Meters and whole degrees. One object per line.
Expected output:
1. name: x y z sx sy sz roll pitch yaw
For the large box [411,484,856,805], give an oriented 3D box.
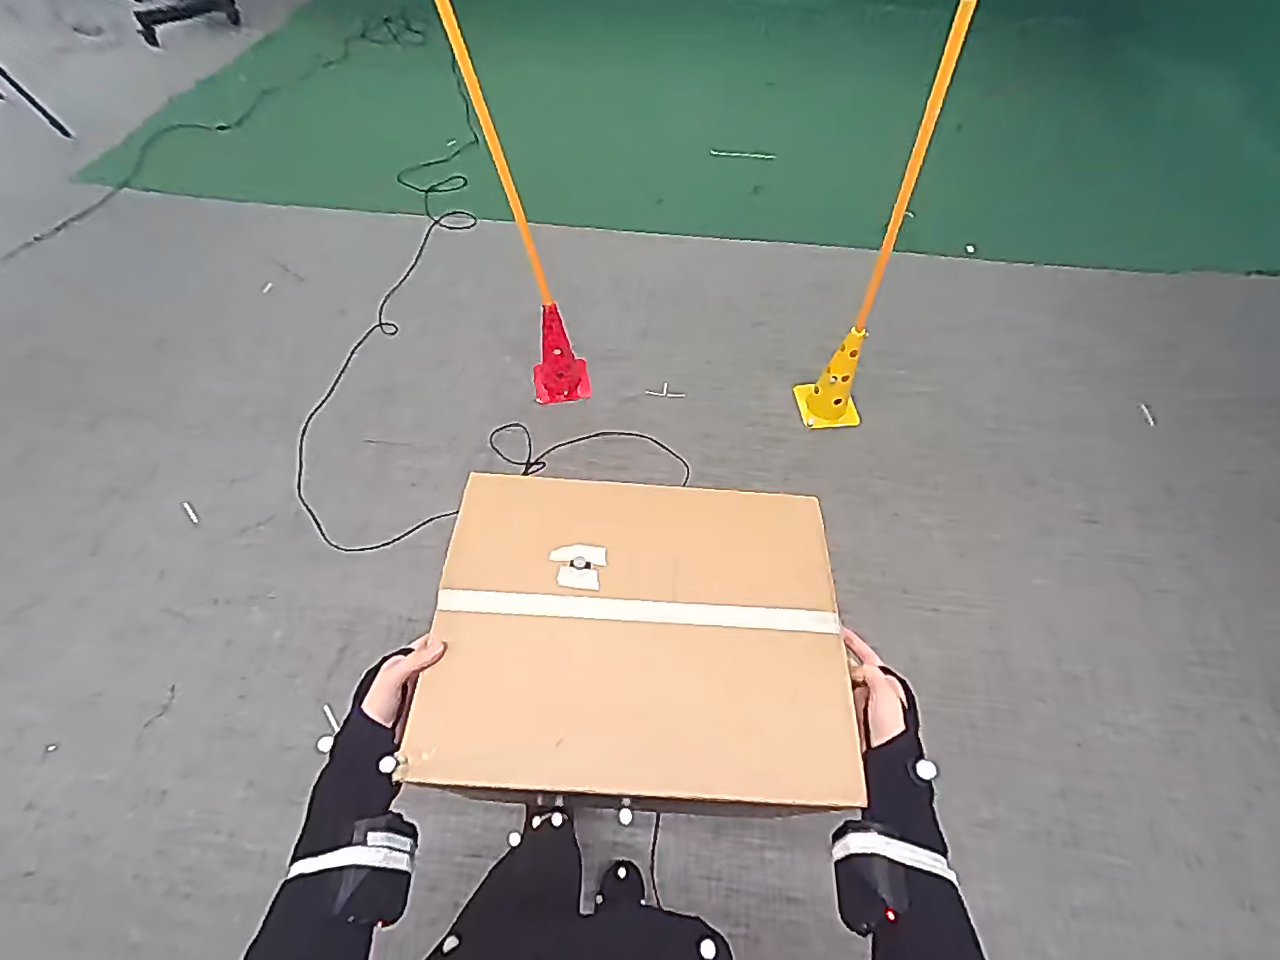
1. large box: -0.003 0.222 0.682 0.408 0.320 0.320 4 56 0
